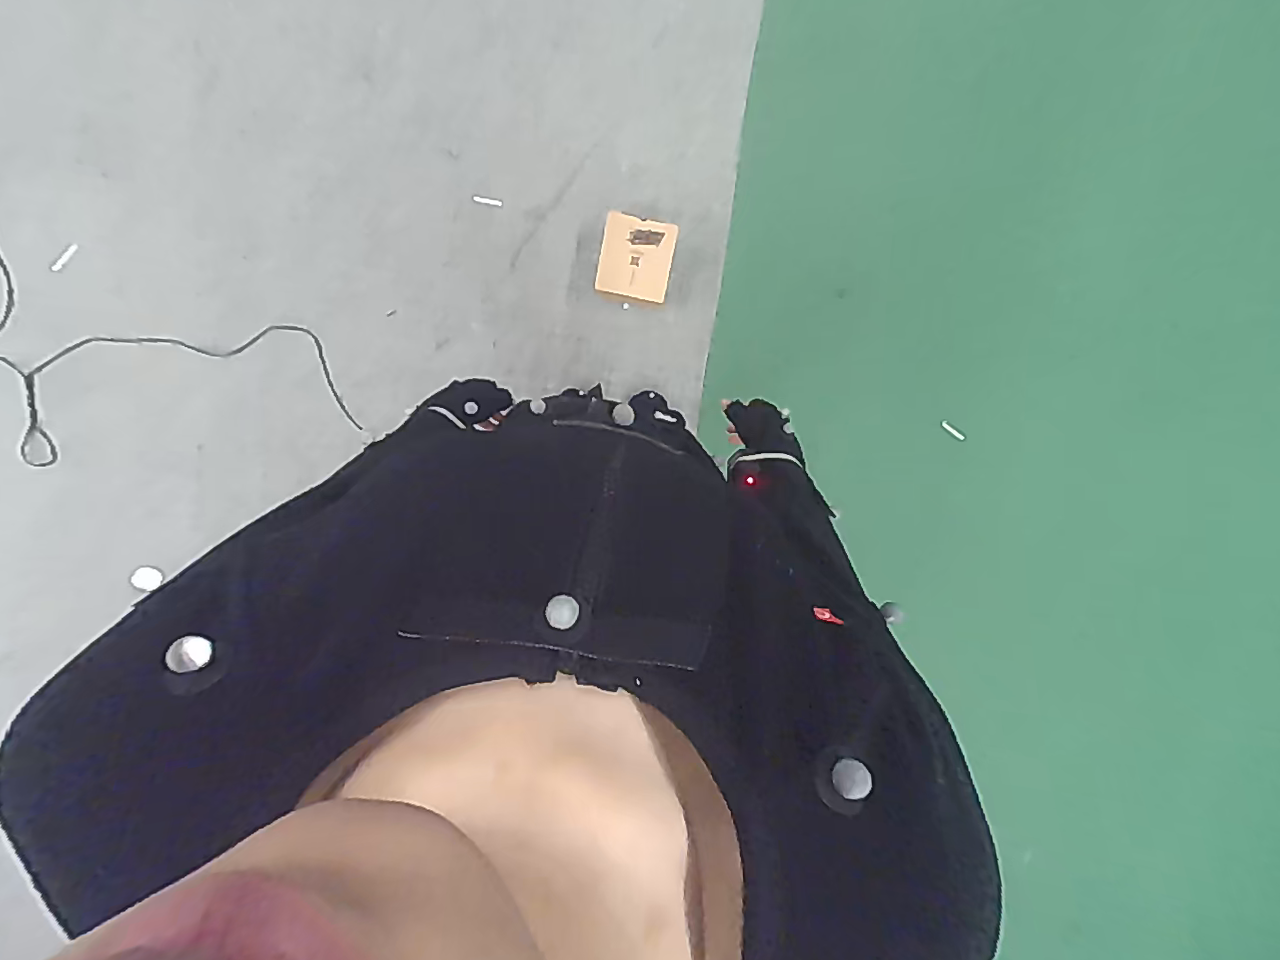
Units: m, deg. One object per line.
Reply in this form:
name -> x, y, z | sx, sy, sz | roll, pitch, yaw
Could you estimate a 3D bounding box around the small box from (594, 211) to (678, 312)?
small box -> -0.012, -0.520, 1.307 | 0.168, 0.176, 0.179 | 12, 101, -2
